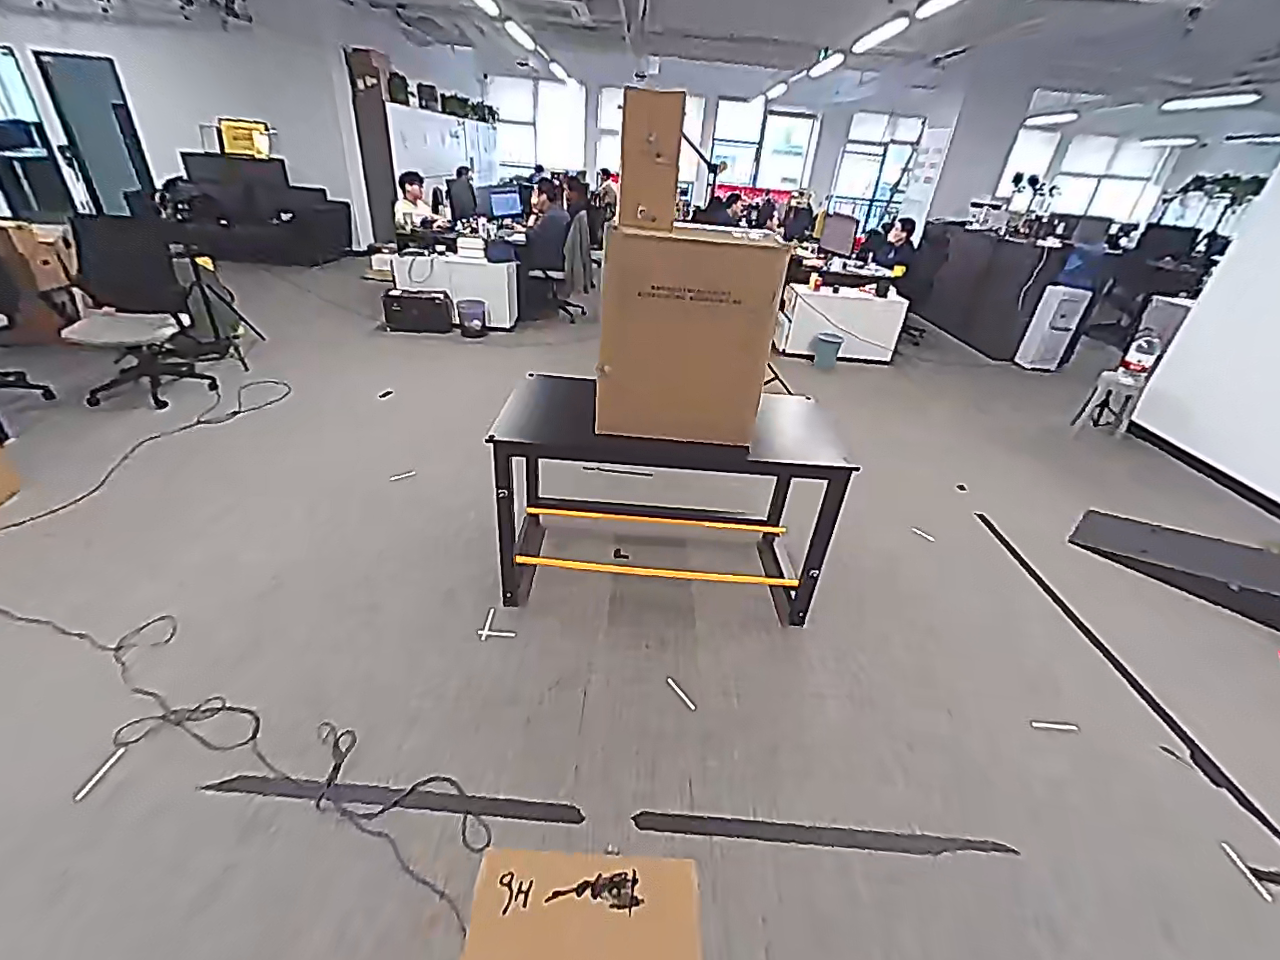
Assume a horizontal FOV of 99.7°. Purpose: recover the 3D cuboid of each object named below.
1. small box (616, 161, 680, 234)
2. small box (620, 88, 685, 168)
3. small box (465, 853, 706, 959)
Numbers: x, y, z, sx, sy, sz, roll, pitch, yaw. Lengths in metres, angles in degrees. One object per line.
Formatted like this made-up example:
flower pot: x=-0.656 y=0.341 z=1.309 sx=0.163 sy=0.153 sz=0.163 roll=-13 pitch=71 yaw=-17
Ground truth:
small box: x=0.018 y=-0.839 z=1.599 sx=0.168 sy=0.176 sz=0.179 roll=1 pitch=33 yaw=-6
small box: x=0.029 y=-0.978 z=1.511 sx=0.168 sy=0.176 sz=0.179 roll=3 pitch=32 yaw=-4
small box: x=-0.044 y=0.402 z=0.399 sx=0.168 sy=0.176 sz=0.179 roll=5 pitch=42 yaw=-5
